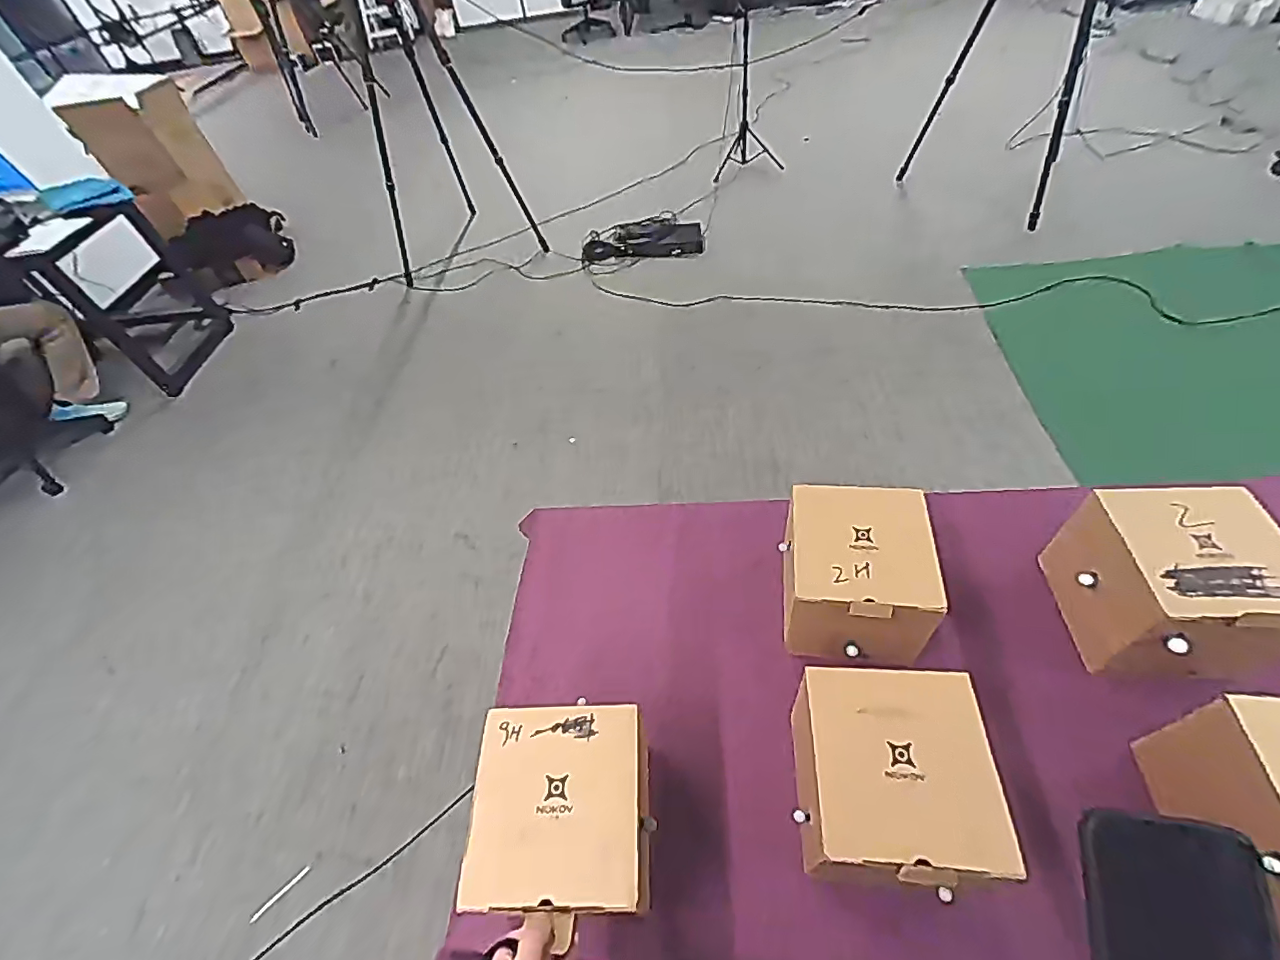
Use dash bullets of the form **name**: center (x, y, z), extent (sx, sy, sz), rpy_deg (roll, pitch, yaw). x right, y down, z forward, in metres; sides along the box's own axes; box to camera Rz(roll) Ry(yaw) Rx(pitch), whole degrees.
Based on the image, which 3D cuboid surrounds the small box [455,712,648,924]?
- **small box**: center (-0.078, 0.367, 0.587), extent (0.168, 0.176, 0.179), rpy_deg (-2, 51, 3)

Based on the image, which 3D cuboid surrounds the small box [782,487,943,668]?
- **small box**: center (0.281, 0.130, 0.728), extent (0.168, 0.176, 0.179), rpy_deg (2, 51, 12)

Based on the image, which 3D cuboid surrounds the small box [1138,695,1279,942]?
- **small box**: center (0.631, 0.323, 0.505), extent (0.168, 0.176, 0.179), rpy_deg (0, 51, 11)

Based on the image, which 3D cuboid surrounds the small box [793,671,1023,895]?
- **small box**: center (0.258, 0.322, 0.574), extent (0.168, 0.176, 0.179), rpy_deg (-1, 49, 9)
